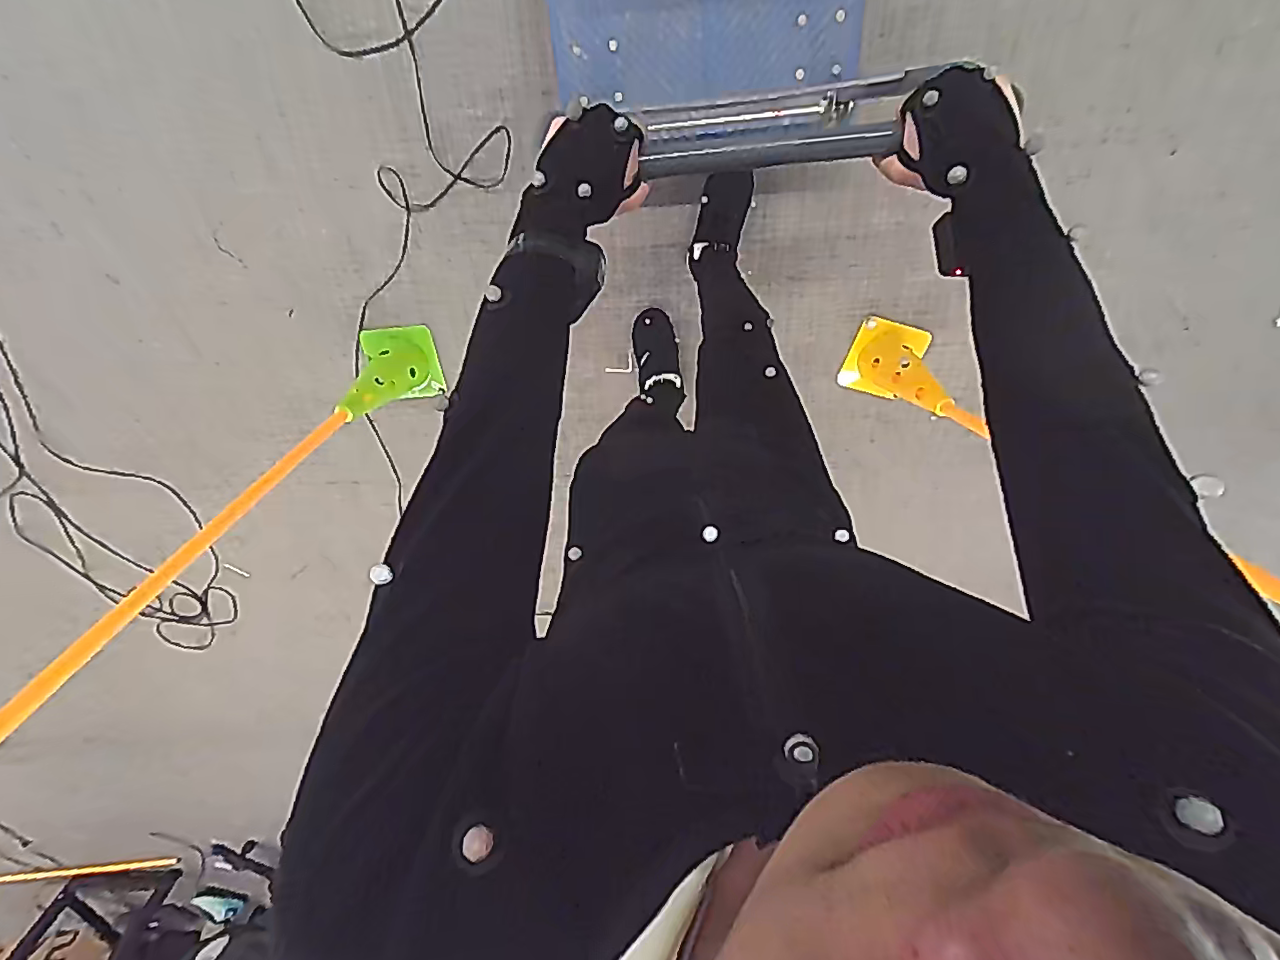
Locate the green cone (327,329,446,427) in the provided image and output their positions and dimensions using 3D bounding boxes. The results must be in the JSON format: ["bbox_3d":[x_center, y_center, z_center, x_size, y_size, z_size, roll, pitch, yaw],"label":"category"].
[{"bbox_3d":[-0.663,-0.229,1.352,0.202,0.368,0.200,-4,119,5],"label":"green cone"}]
